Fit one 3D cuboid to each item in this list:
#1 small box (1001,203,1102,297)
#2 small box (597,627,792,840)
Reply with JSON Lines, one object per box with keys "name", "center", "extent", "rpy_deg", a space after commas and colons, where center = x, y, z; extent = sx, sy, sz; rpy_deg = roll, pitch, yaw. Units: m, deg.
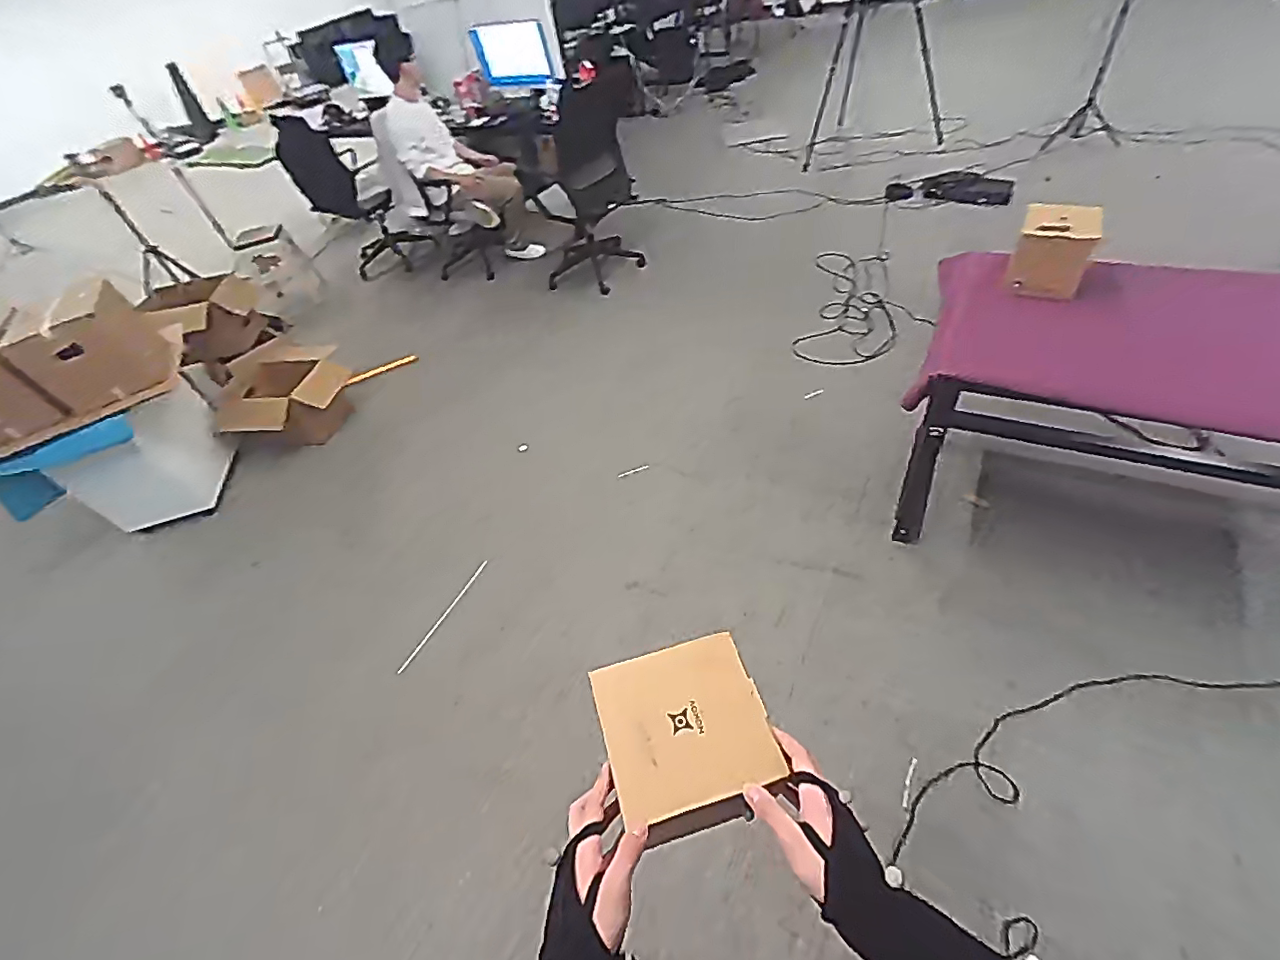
{"name": "small box", "center": [1.091, -0.612, 1.444], "extent": [0.168, 0.176, 0.179], "rpy_deg": [19, 56, 26]}
{"name": "small box", "center": [0.055, 0.303, 0.642], "extent": [0.179, 0.176, 0.168], "rpy_deg": [-13, 50, -7]}
